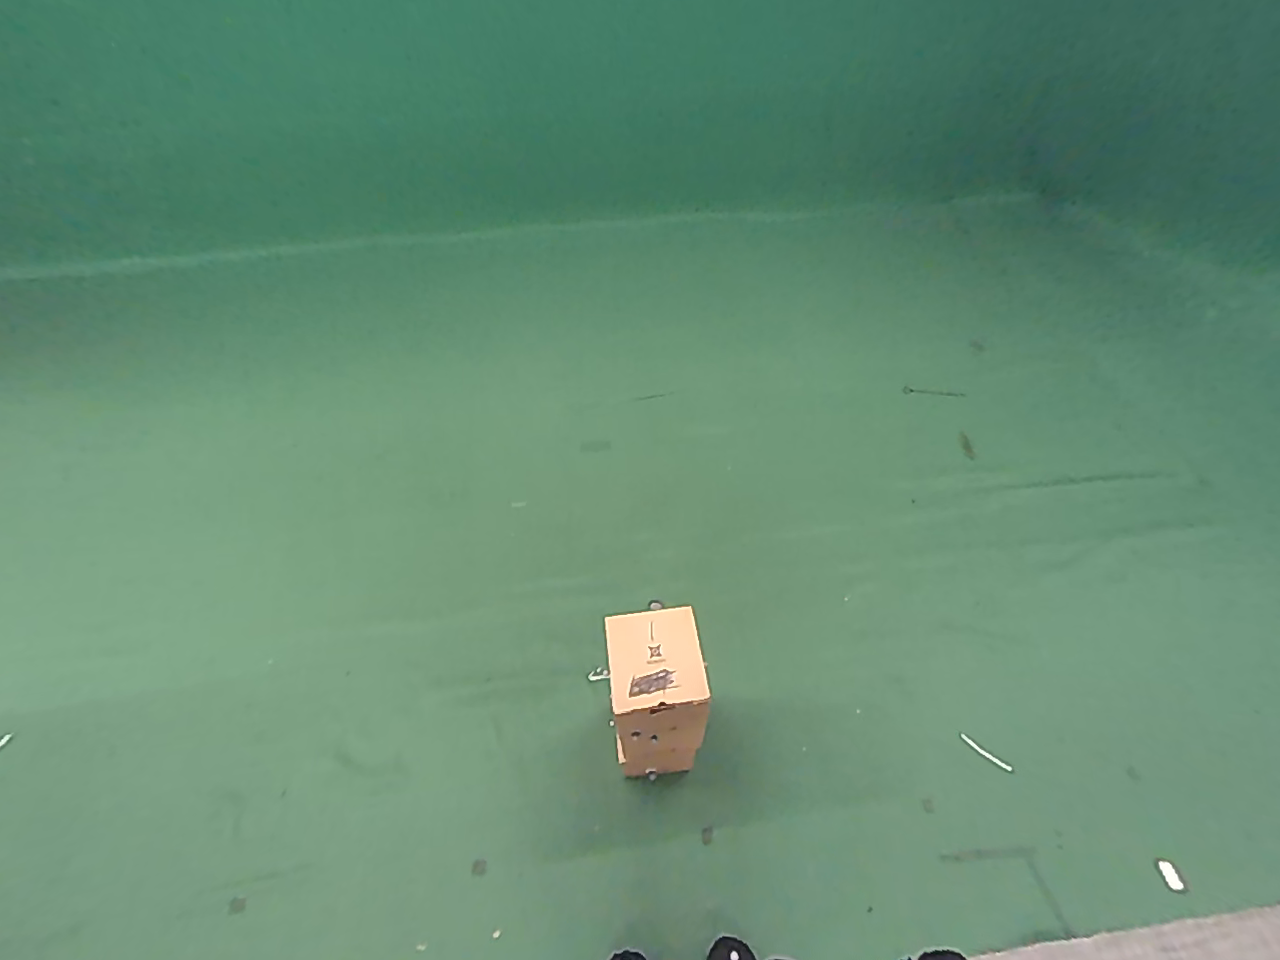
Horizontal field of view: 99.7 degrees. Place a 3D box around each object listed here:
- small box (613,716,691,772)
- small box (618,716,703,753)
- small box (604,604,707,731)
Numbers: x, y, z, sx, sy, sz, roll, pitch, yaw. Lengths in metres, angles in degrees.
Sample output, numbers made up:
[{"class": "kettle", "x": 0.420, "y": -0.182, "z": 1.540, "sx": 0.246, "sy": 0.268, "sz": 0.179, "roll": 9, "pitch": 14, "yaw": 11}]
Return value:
[{"class": "small box", "x": 0.024, "y": 0.557, "z": 1.249, "sx": 0.168, "sy": 0.176, "sz": 0.179, "roll": -5, "pitch": 51, "yaw": -1}, {"class": "small box", "x": 0.032, "y": 0.460, "z": 1.141, "sx": 0.168, "sy": 0.176, "sz": 0.179, "roll": -6, "pitch": 50, "yaw": -4}, {"class": "small box", "x": 0.026, "y": 0.357, "z": 1.013, "sx": 0.168, "sy": 0.176, "sz": 0.179, "roll": -6, "pitch": 50, "yaw": -4}]
